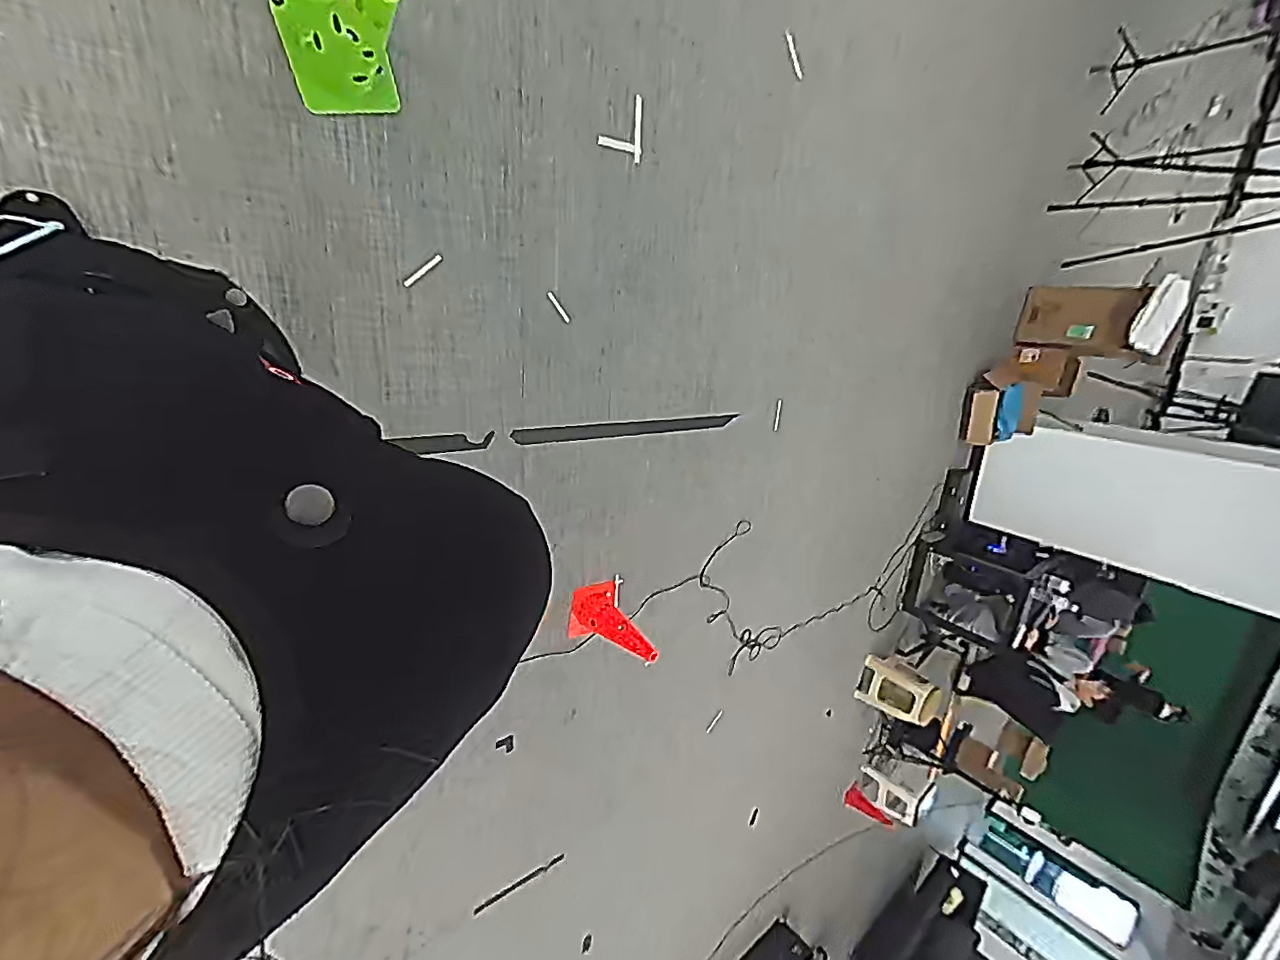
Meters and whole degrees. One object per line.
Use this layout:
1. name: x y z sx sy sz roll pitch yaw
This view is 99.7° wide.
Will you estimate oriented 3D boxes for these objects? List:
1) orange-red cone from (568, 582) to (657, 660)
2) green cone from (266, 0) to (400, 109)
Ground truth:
1. orange-red cone: -0.069 0.524 1.884 0.199 0.360 0.198 -1 106 -40
2. green cone: -0.515 -0.838 0.990 0.202 0.368 0.200 -28 123 -32
